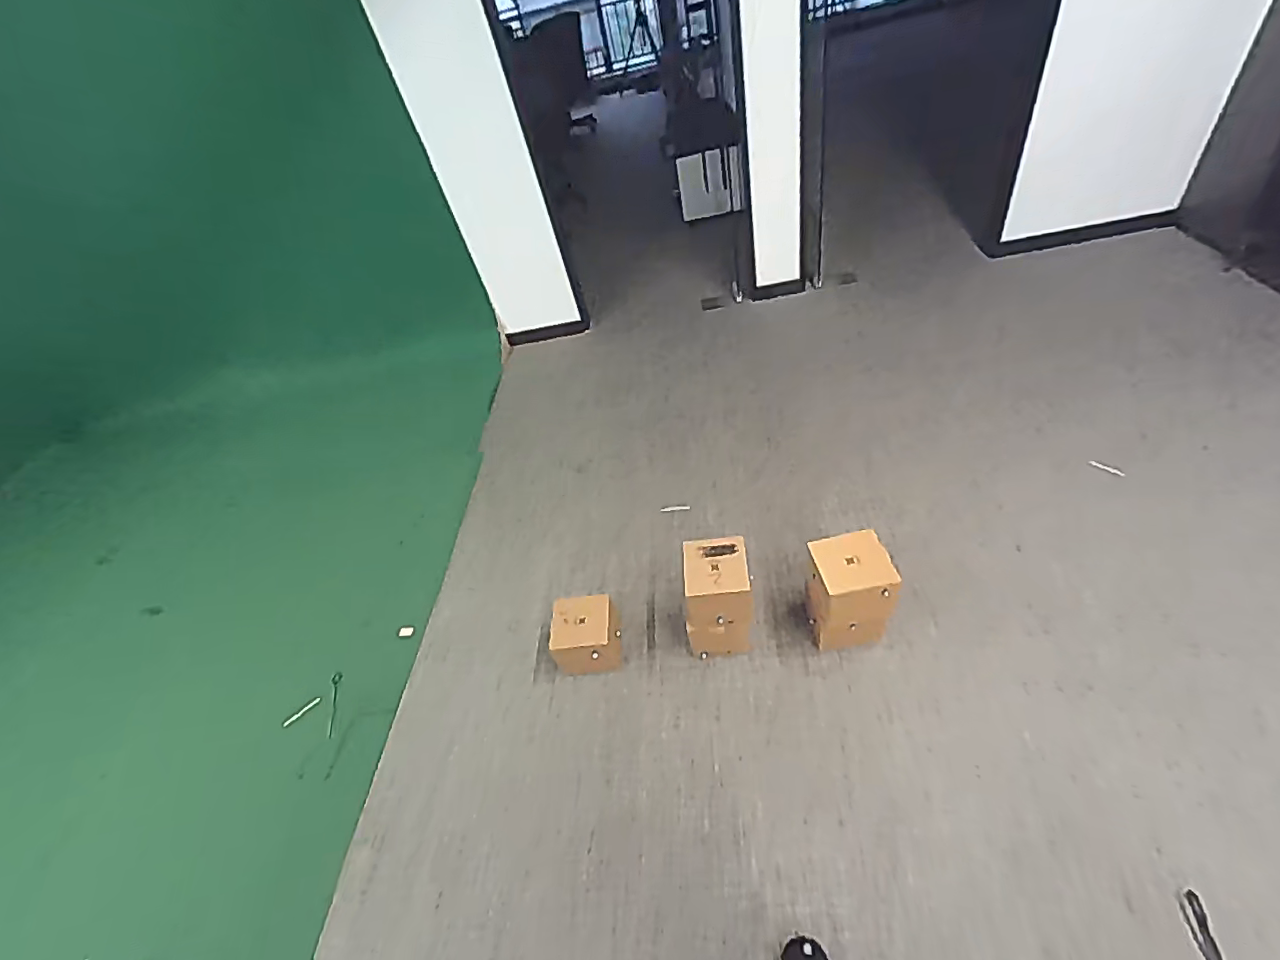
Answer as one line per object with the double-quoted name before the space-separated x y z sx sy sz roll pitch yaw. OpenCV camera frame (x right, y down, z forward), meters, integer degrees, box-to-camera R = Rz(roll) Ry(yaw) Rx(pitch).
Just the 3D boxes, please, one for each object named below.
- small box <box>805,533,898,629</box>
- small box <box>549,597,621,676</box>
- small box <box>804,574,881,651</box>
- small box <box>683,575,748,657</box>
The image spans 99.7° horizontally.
"small box" 0.539 0.266 1.400 0.179 0.176 0.168 -13 44 3
"small box" -0.158 0.474 1.631 0.179 0.176 0.168 -8 44 8
"small box" 0.569 0.367 1.524 0.179 0.176 0.168 -9 45 7
"small box" 0.222 0.405 1.588 0.168 0.176 0.179 -8 44 9
